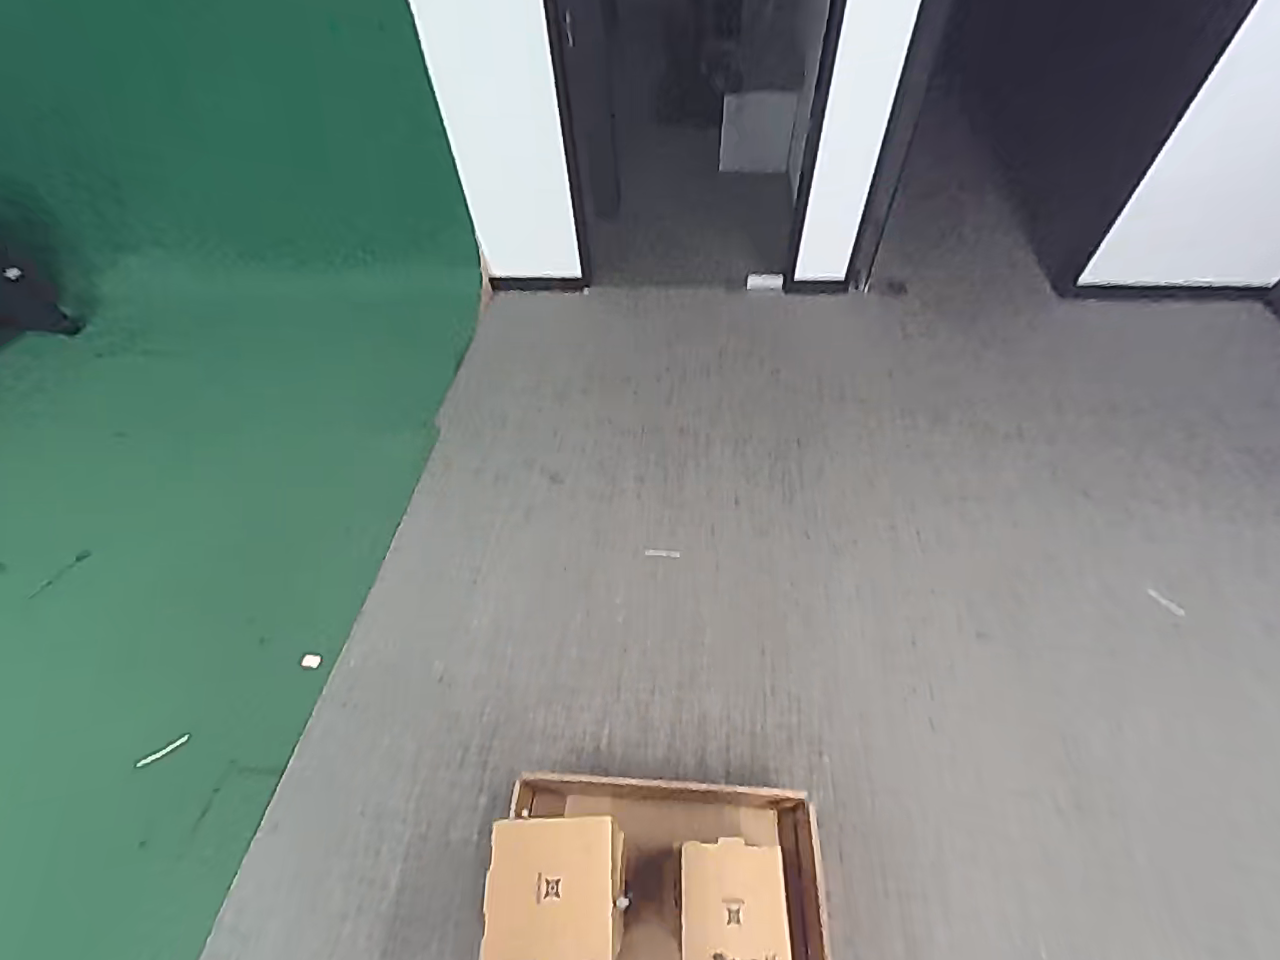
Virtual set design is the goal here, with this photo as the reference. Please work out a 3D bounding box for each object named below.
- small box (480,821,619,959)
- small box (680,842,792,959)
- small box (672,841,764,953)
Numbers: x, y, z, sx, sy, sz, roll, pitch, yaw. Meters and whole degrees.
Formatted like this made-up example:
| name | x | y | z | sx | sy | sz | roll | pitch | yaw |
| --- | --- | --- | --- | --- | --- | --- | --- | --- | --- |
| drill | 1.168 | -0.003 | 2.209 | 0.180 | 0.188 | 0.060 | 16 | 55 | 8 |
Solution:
| name | x | y | z | sx | sy | sz | roll | pitch | yaw |
| --- | --- | --- | --- | --- | --- | --- | --- | --- | --- |
| small box | -0.121 | 0.611 | 0.805 | 0.179 | 0.176 | 0.168 | -3 | 53 | 1 |
| small box | 0.152 | 0.726 | 0.906 | 0.168 | 0.176 | 0.179 | 0 | 51 | 5 |
| small box | 0.155 | 0.808 | 1.049 | 0.179 | 0.176 | 0.168 | -3 | 52 | 2 |
